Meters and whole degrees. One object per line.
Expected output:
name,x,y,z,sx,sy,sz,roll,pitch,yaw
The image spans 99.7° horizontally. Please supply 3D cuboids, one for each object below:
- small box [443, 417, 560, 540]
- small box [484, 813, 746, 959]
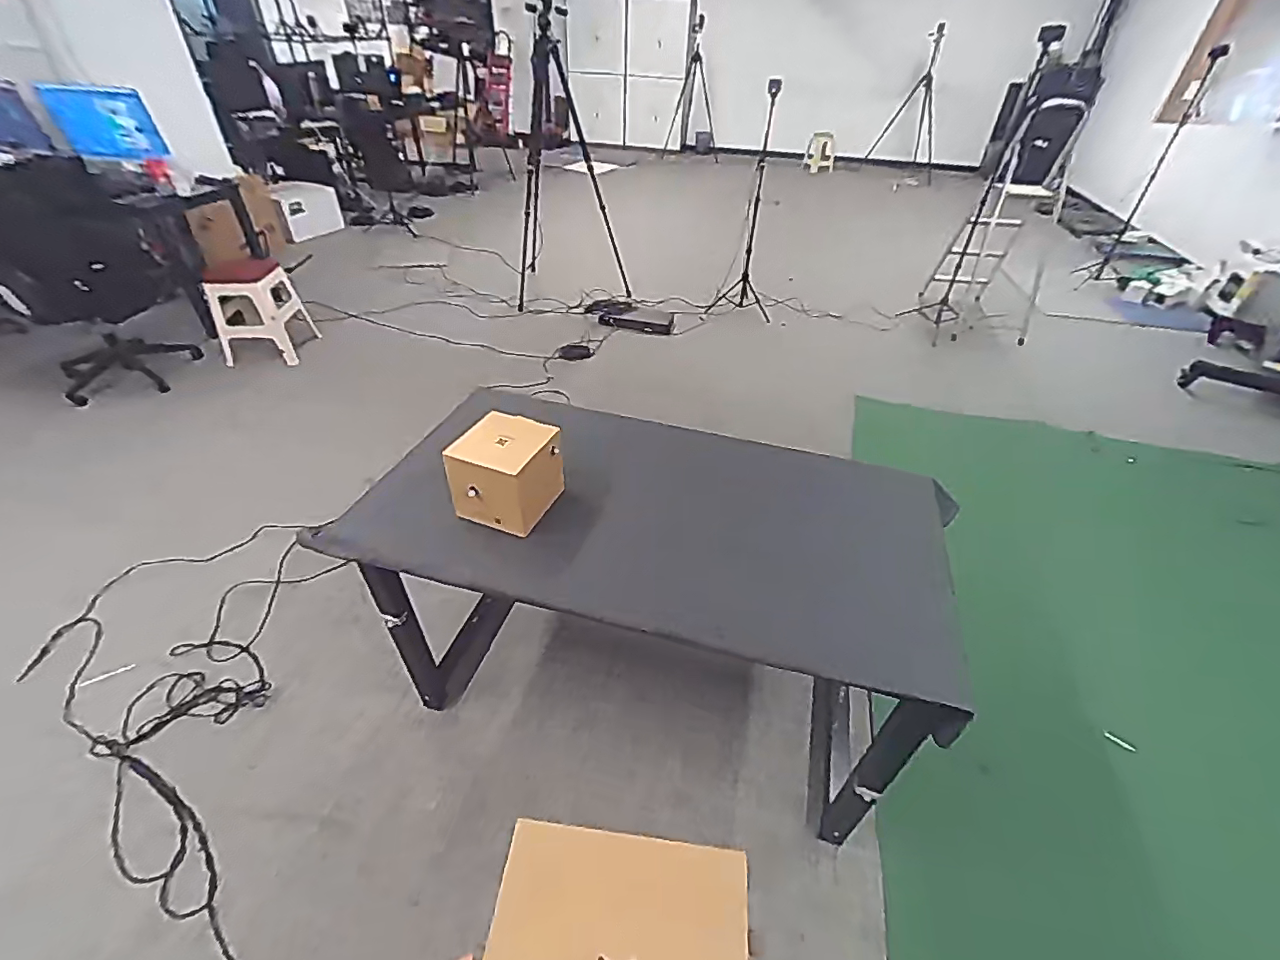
small box,-0.274,-0.002,1.122,0.168,0.176,0.179,15,40,15
small box,-0.020,0.369,0.385,0.168,0.176,0.179,6,46,5
